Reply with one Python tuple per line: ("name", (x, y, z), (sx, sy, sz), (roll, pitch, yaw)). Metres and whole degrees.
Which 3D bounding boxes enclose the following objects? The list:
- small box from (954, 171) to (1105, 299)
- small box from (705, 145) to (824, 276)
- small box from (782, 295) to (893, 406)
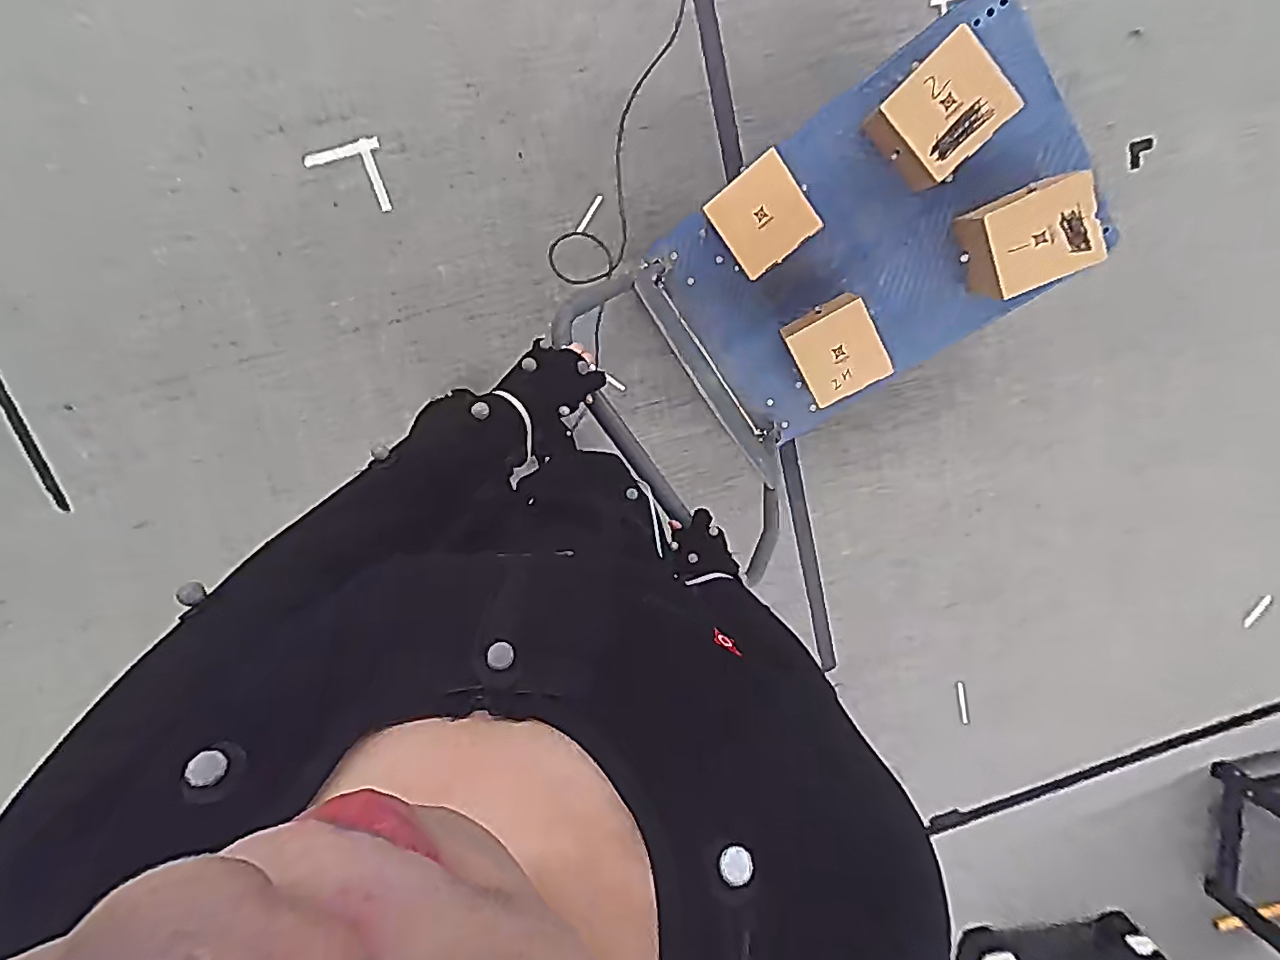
("small box", (0.753, -0.474, 1.059), (0.179, 0.176, 0.168), (-20, 107, 18))
("small box", (0.251, -0.547, 1.120), (0.168, 0.176, 0.179), (-34, 104, 21))
("small box", (0.427, -0.292, 1.193), (0.168, 0.176, 0.179), (-26, 105, 19))
